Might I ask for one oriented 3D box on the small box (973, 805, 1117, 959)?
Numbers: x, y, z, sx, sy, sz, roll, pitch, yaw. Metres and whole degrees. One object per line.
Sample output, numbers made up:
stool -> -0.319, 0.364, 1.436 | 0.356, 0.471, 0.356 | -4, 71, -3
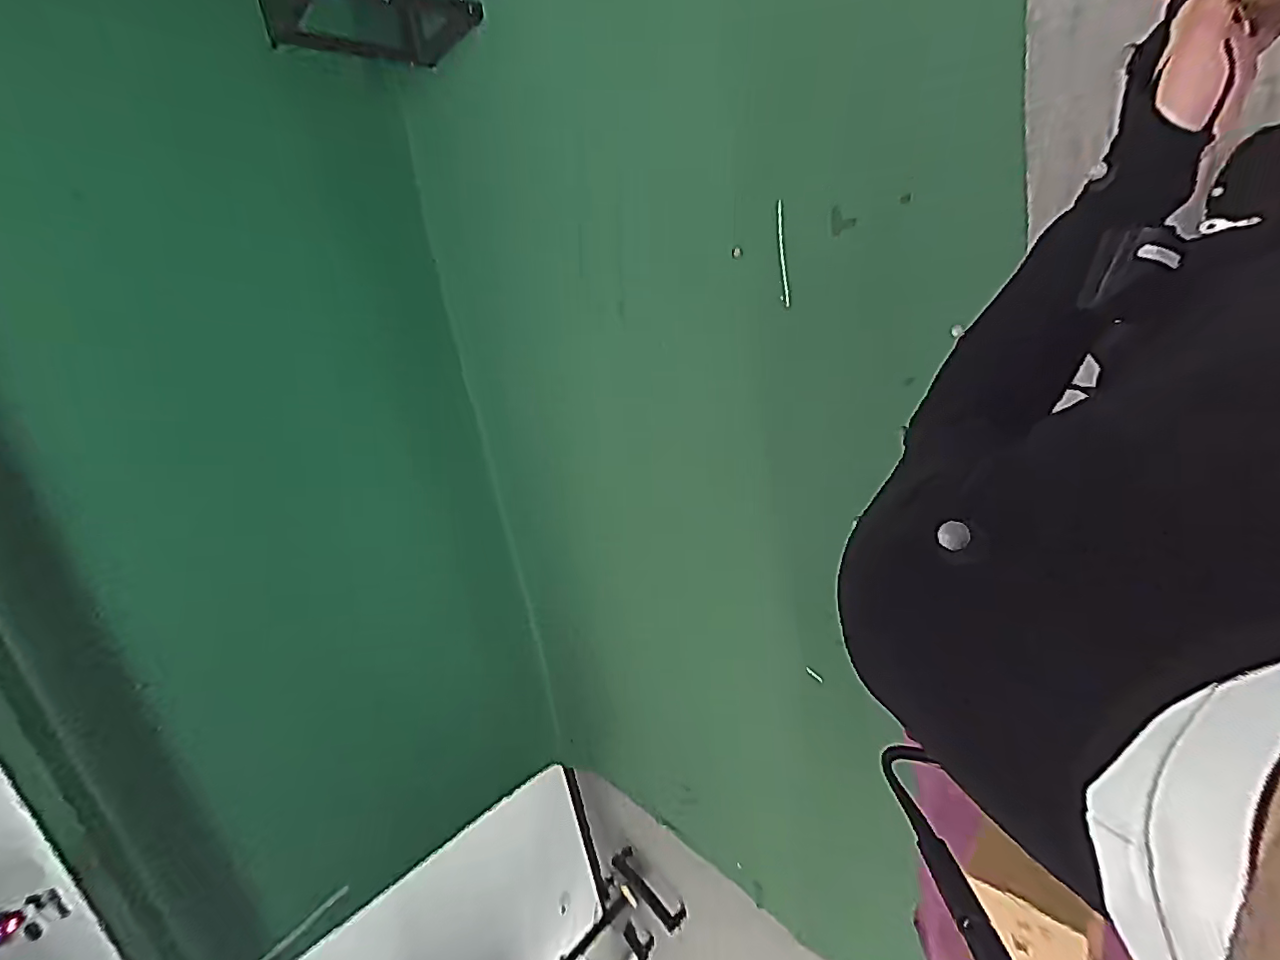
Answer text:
small box -> 0.684, 0.706, 0.911 | 0.168, 0.176, 0.179 | 4, 111, 48

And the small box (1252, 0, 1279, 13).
small box -> 0.430, -0.389, 0.275 | 0.168, 0.176, 0.179 | 5, 117, 50
